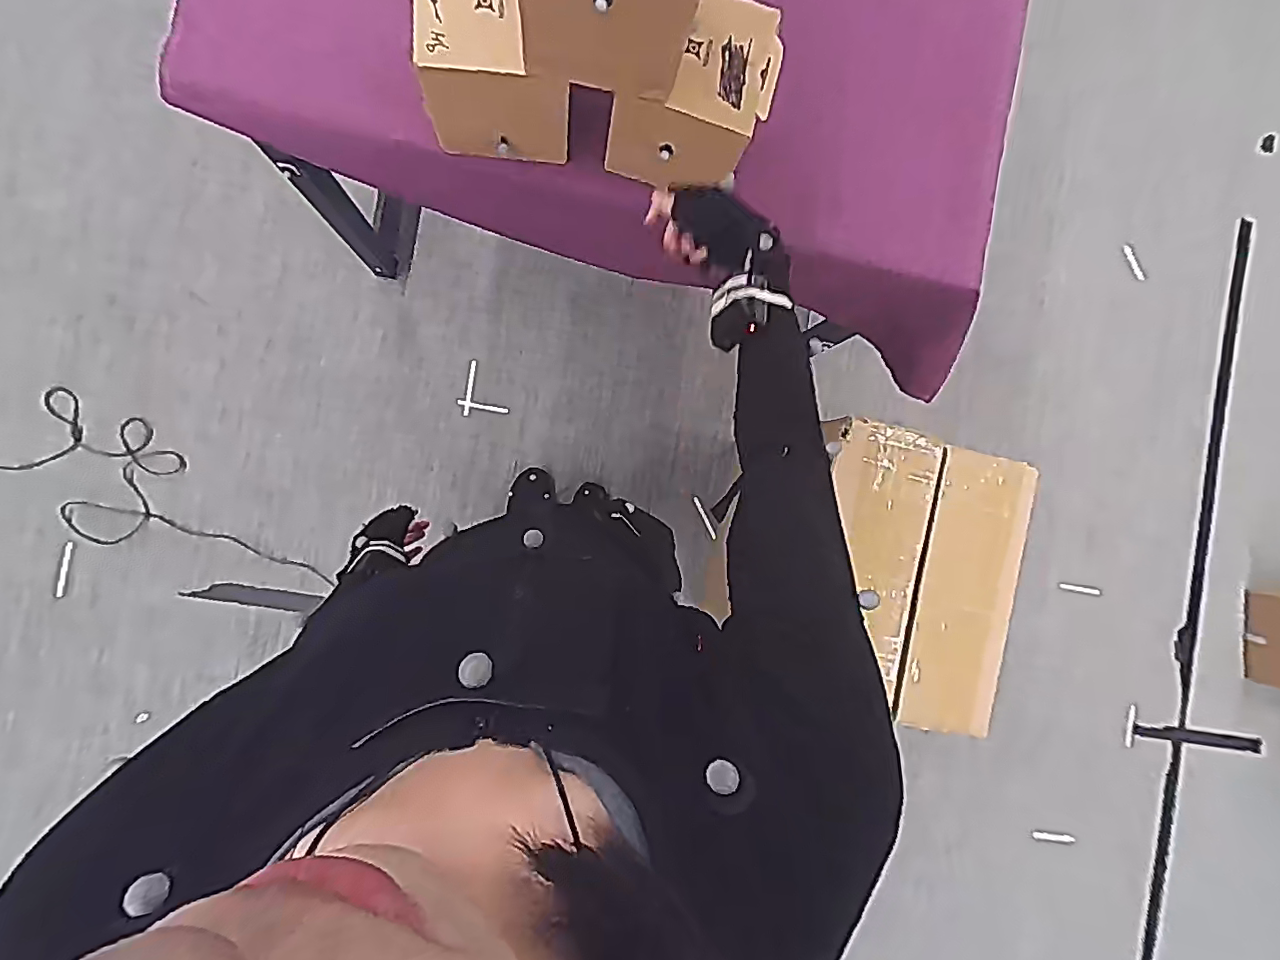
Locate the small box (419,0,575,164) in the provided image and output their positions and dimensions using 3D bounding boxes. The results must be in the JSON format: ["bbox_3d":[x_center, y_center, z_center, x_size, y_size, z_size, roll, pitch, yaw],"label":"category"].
[{"bbox_3d":[-0.178,-0.542,0.702,0.179,0.176,0.168,0,89,-10],"label":"small box"}]

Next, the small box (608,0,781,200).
[{"bbox_3d":[0.063,-0.516,0.737,0.179,0.176,0.168,14,87,-7],"label":"small box"}]

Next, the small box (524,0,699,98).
[{"bbox_3d":[-0.026,-0.541,0.559,0.179,0.176,0.168,7,89,-9],"label":"small box"}]
